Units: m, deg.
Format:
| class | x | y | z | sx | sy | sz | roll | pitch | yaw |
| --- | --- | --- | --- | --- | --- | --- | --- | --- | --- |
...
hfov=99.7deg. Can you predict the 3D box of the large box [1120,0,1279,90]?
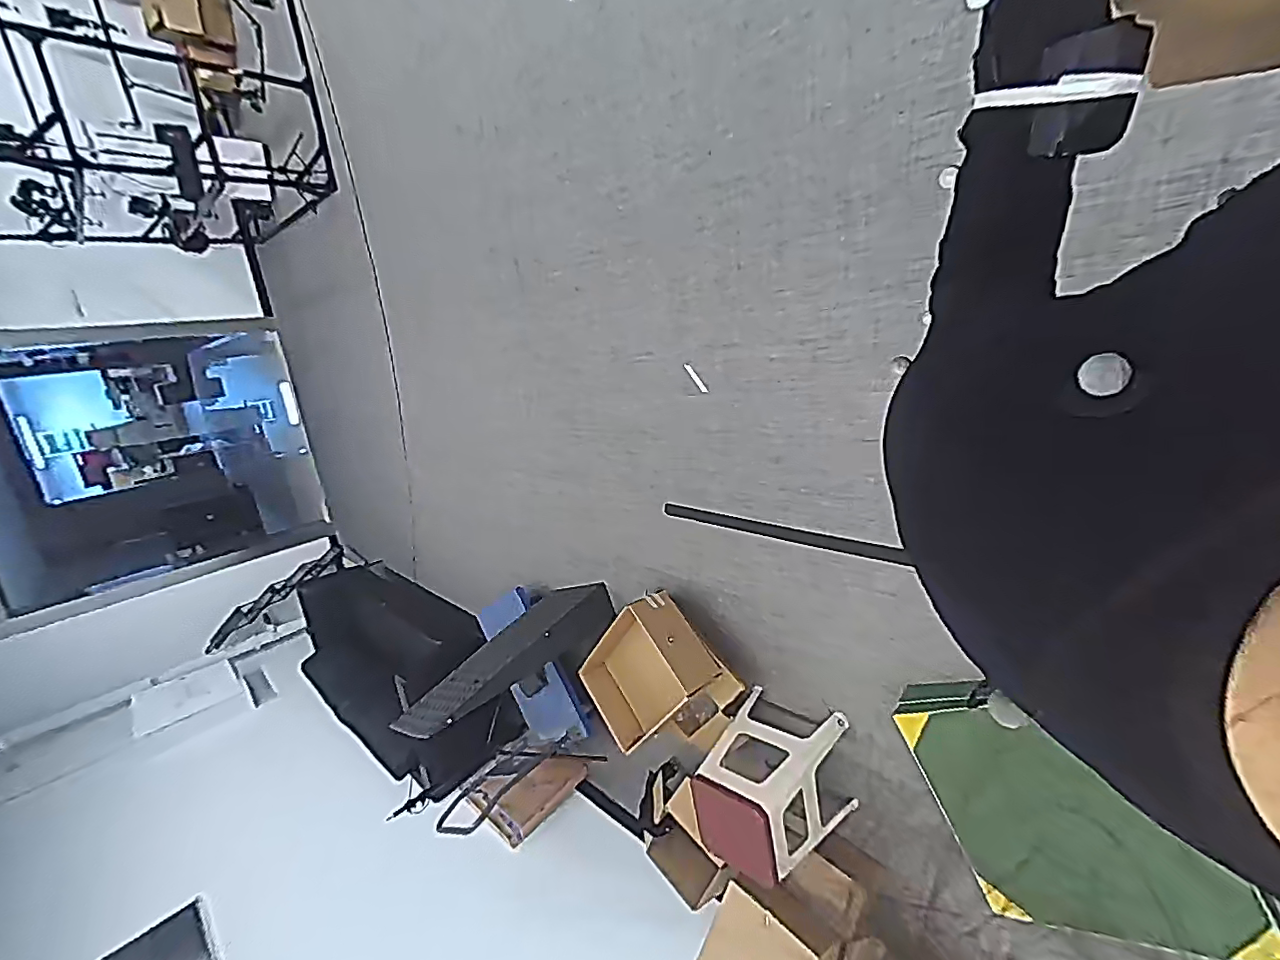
| class | x | y | z | sx | sy | sz | roll | pitch | yaw |
| --- | --- | --- | --- | --- | --- | --- | --- | --- | --- |
| large box | 0.509 | -0.422 | 0.227 | 0.408 | 0.320 | 0.320 | 19 | 119 | 41 |
